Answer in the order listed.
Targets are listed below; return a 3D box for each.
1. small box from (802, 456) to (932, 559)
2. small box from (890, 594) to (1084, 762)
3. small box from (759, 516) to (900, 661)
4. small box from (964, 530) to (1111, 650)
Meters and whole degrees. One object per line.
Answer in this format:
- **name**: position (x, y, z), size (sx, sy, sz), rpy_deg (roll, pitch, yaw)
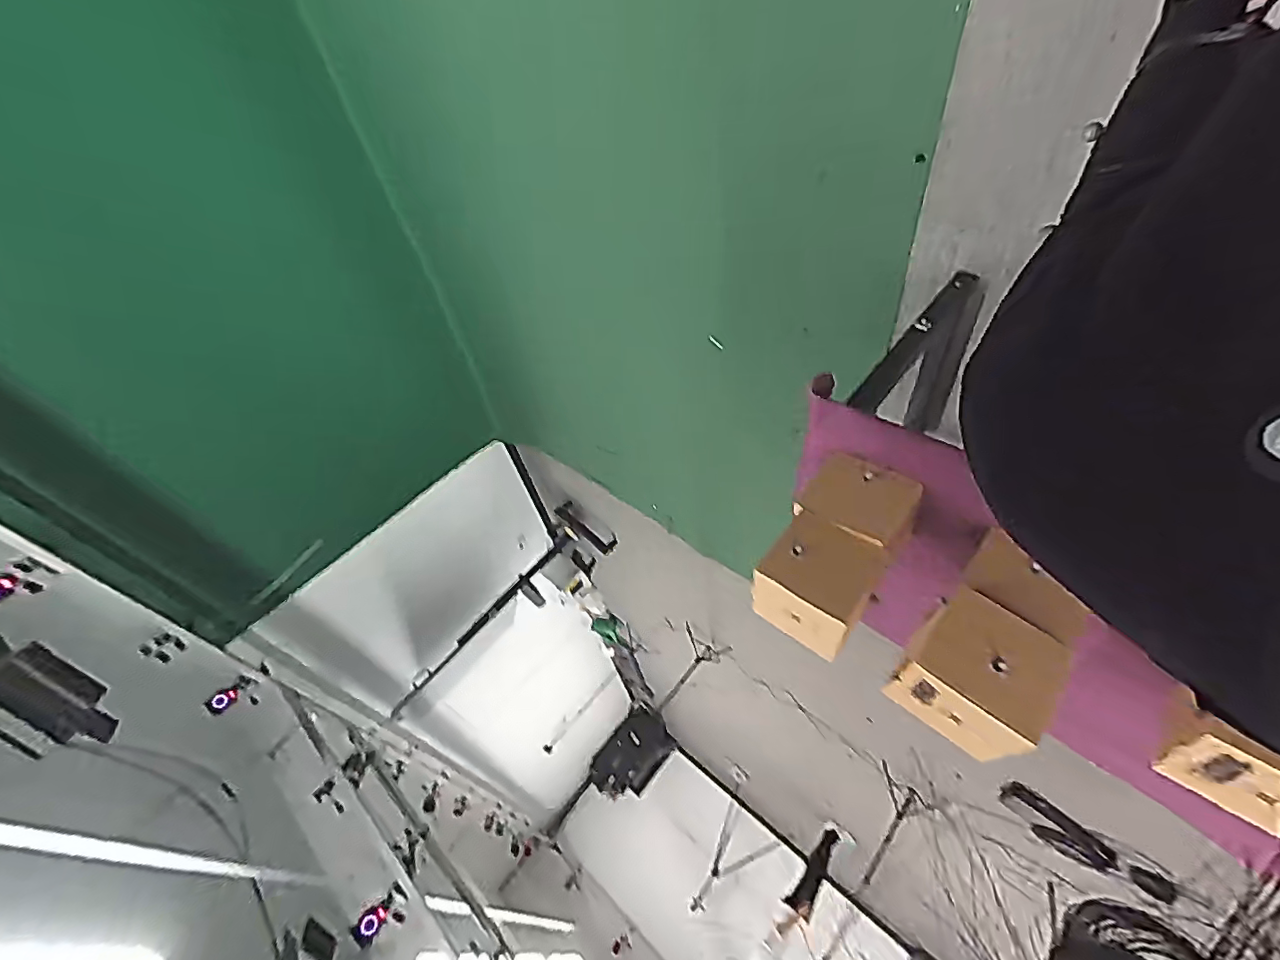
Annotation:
- **small box**: position (0.439, 0.078, 1.064), size (0.179, 0.176, 0.168), rpy_deg (28, 150, 35)
- **small box**: position (0.538, 0.302, 0.851), size (0.179, 0.176, 0.168), rpy_deg (34, 154, 24)
- **small box**: position (0.342, 0.191, 0.996), size (0.179, 0.176, 0.168), rpy_deg (30, 151, 29)
- **small box**: position (0.662, 0.220, 0.927), size (0.168, 0.176, 0.179), rpy_deg (26, 149, 37)
